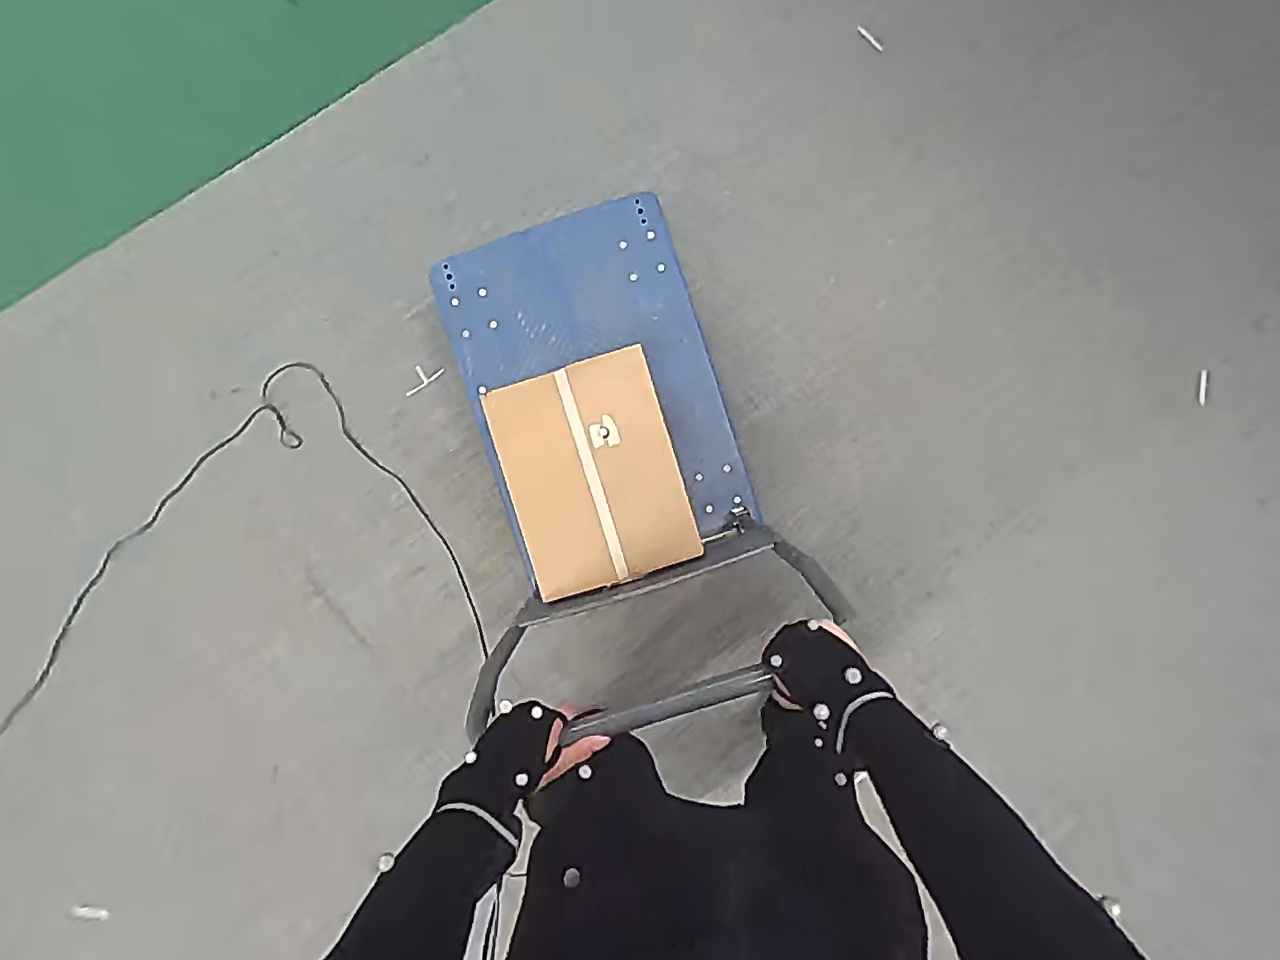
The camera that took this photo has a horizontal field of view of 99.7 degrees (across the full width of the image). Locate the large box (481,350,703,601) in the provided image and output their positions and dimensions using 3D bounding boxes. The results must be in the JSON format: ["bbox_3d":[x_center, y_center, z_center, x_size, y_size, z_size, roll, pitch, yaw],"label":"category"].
[{"bbox_3d":[-0.084,-0.008,1.148,0.320,0.320,0.408,-18,90,1],"label":"large box"}]
